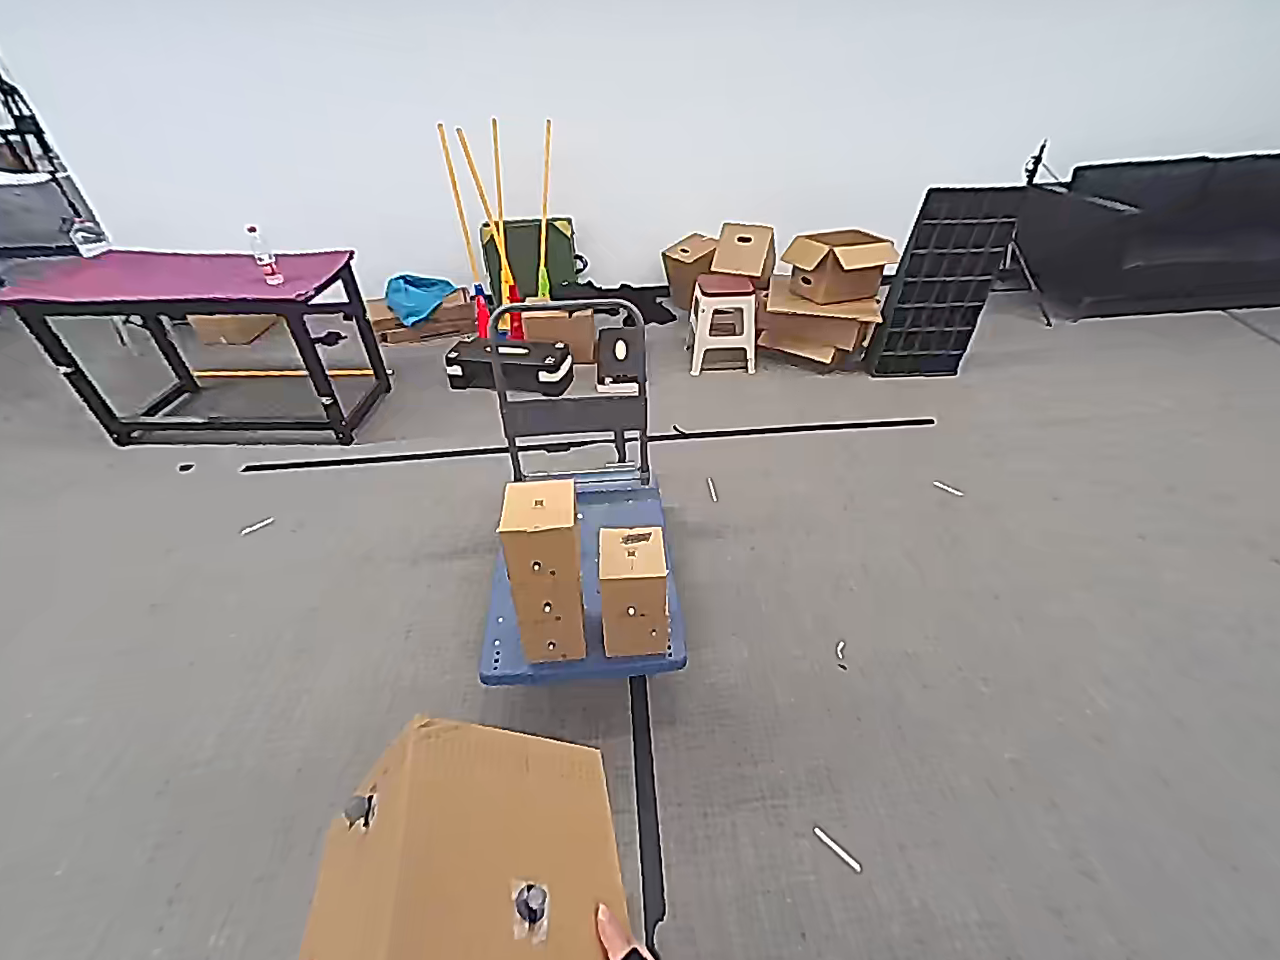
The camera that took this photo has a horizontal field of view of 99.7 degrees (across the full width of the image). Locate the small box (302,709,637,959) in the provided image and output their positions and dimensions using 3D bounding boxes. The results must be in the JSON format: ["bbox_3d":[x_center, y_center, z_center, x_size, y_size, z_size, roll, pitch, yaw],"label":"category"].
[{"bbox_3d":[-0.132,0.308,0.420,0.179,0.168,0.176,29,21,-28],"label":"small box"}]

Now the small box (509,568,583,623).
[{"bbox_3d":[-0.239,0.256,1.401,0.168,0.176,0.179,-4,39,-6],"label":"small box"}]

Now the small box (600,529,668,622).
[{"bbox_3d":[-0.018,0.248,1.409,0.168,0.176,0.179,-2,39,-2],"label":"small box"}]

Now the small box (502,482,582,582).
[{"bbox_3d":[-0.230,0.125,1.303,0.168,0.176,0.179,-3,39,-4],"label":"small box"}]

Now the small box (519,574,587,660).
[{"bbox_3d":[-0.236,0.384,1.504,0.168,0.176,0.179,-3,38,-5],"label":"small box"}]
